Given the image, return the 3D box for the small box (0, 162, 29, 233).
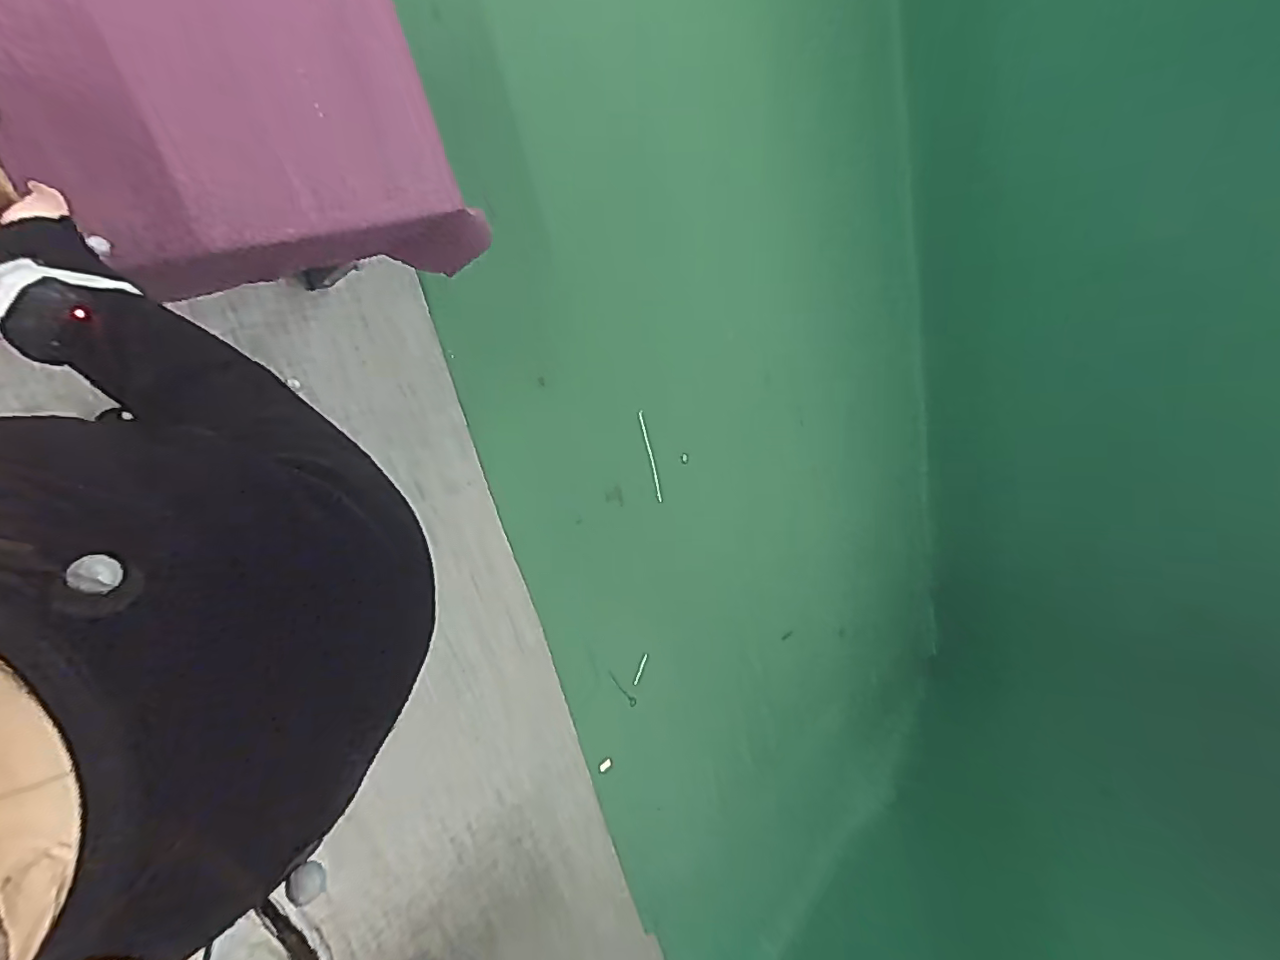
[{"bbox_3d":[-0.614,-0.274,0.389,0.179,0.176,0.168,-30,115,-36],"label":"small box"}]
